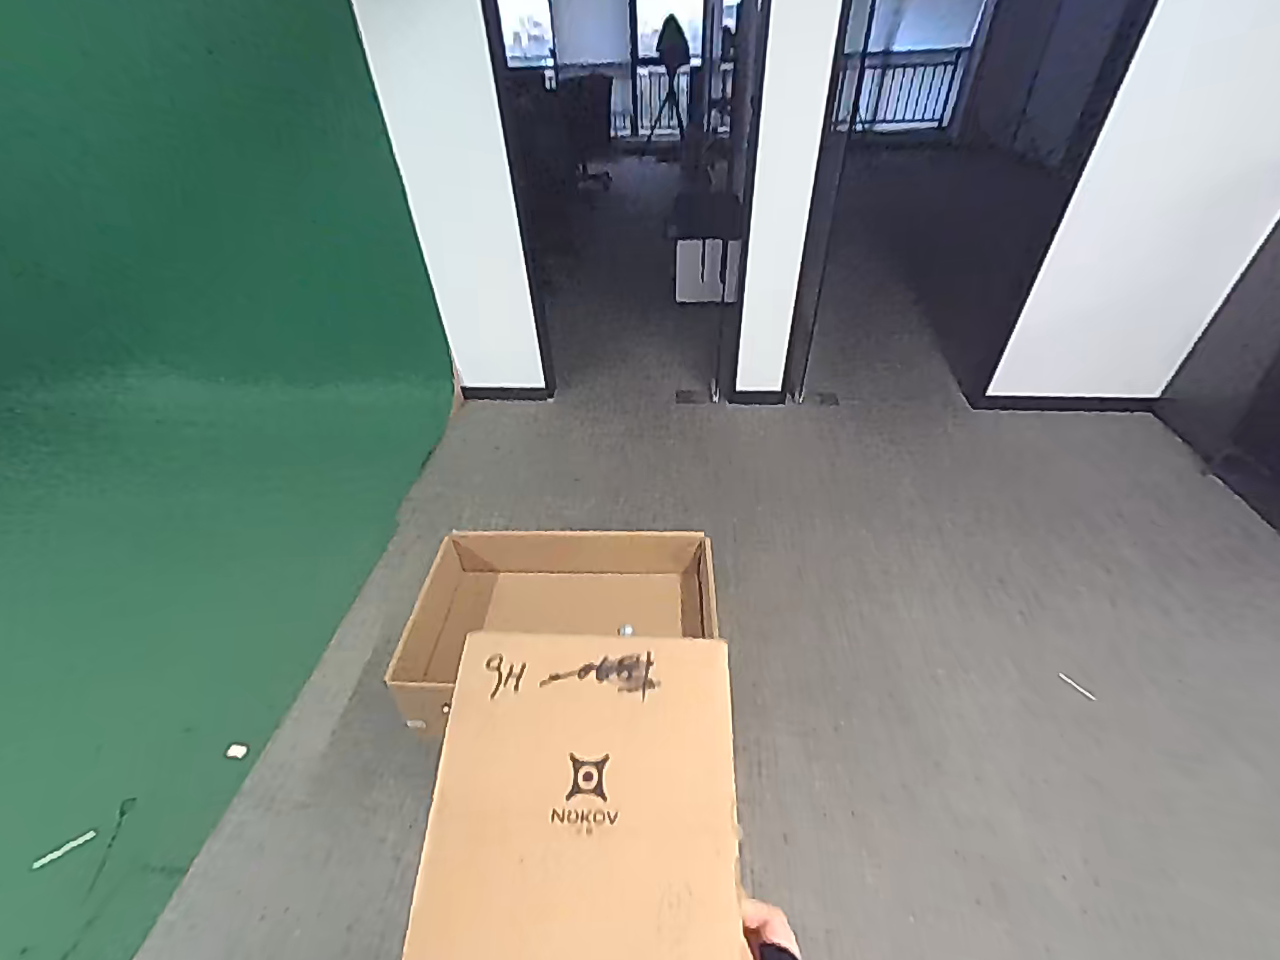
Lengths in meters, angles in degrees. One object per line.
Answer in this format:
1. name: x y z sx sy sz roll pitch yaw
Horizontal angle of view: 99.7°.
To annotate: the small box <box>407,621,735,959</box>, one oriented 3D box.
1. small box: -0.029 0.207 0.370 0.168 0.176 0.179 2 61 1
